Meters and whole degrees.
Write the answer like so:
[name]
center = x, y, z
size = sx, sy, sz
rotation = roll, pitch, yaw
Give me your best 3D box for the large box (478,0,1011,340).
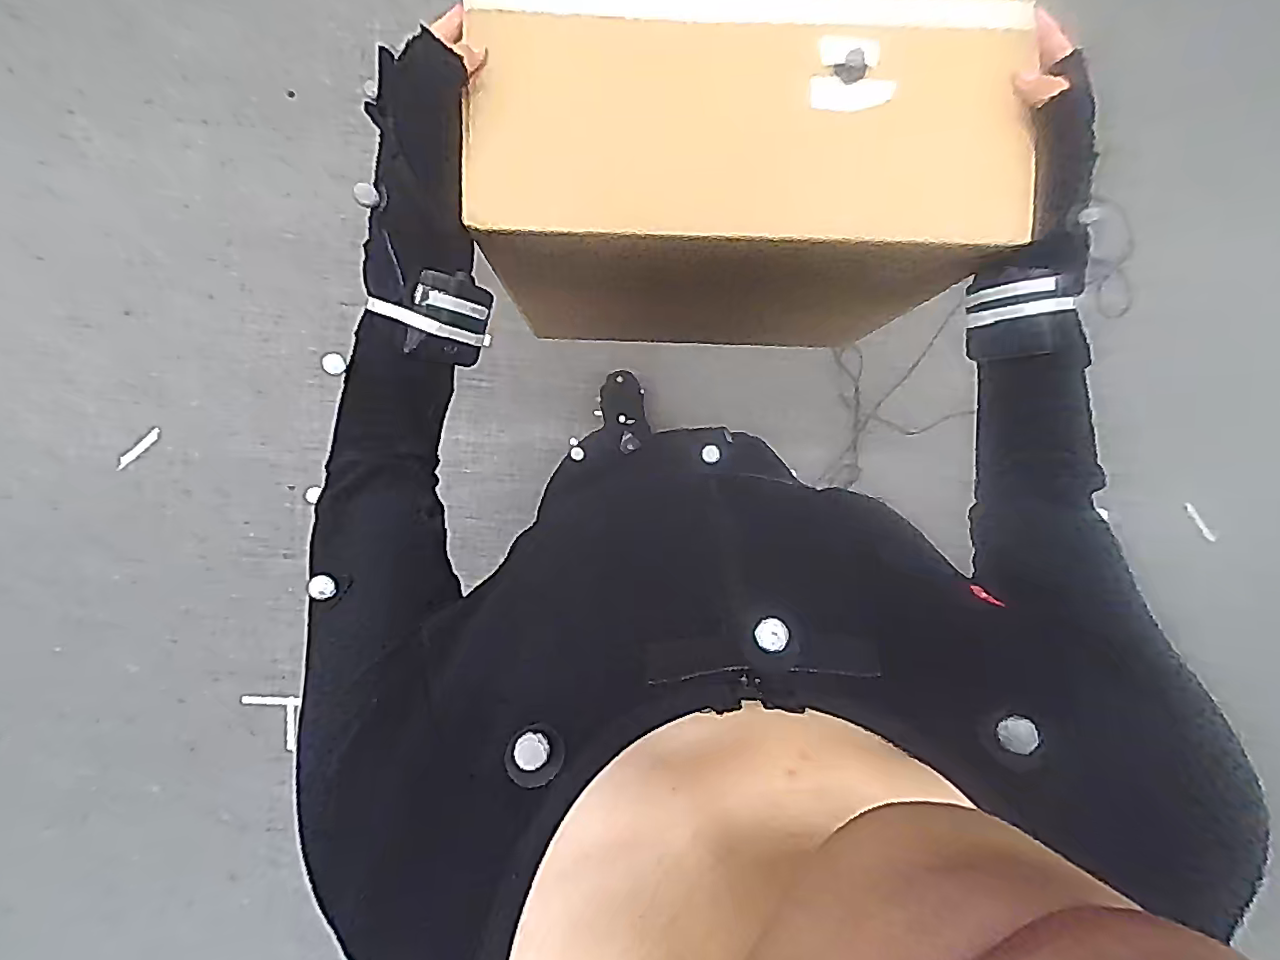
[large box]
center = 0.072, -0.335, 0.548
size = 0.408, 0.320, 0.320
rotation = 1, 90, -2
